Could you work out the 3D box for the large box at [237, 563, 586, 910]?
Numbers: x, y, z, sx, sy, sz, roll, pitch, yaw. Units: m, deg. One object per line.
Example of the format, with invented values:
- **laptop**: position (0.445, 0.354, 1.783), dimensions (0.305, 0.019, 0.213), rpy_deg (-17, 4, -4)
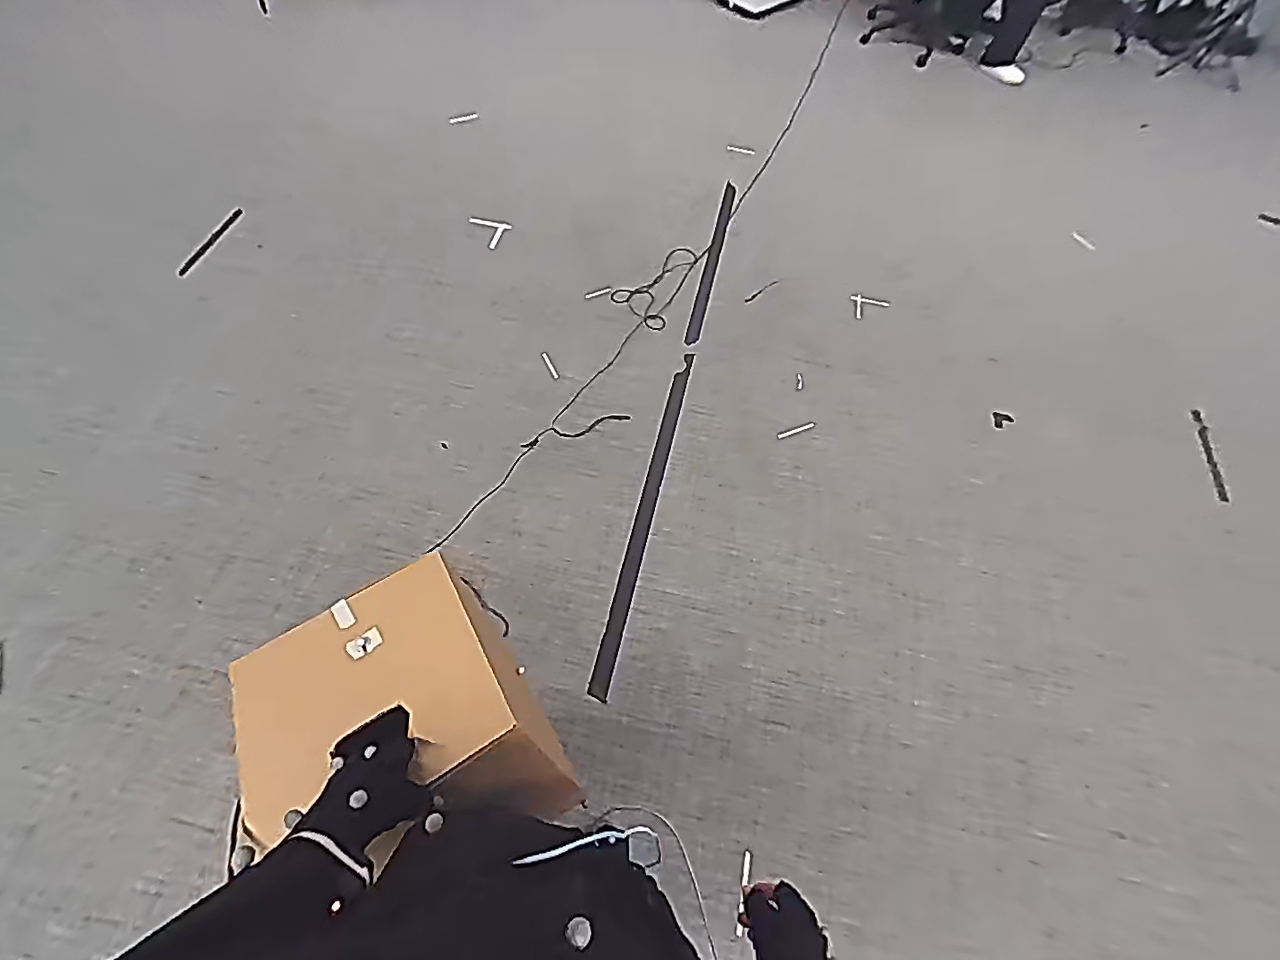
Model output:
- **large box**: position (-0.330, 0.405, 0.848), dimensions (0.320, 0.408, 0.320), rpy_deg (-30, 51, -14)
